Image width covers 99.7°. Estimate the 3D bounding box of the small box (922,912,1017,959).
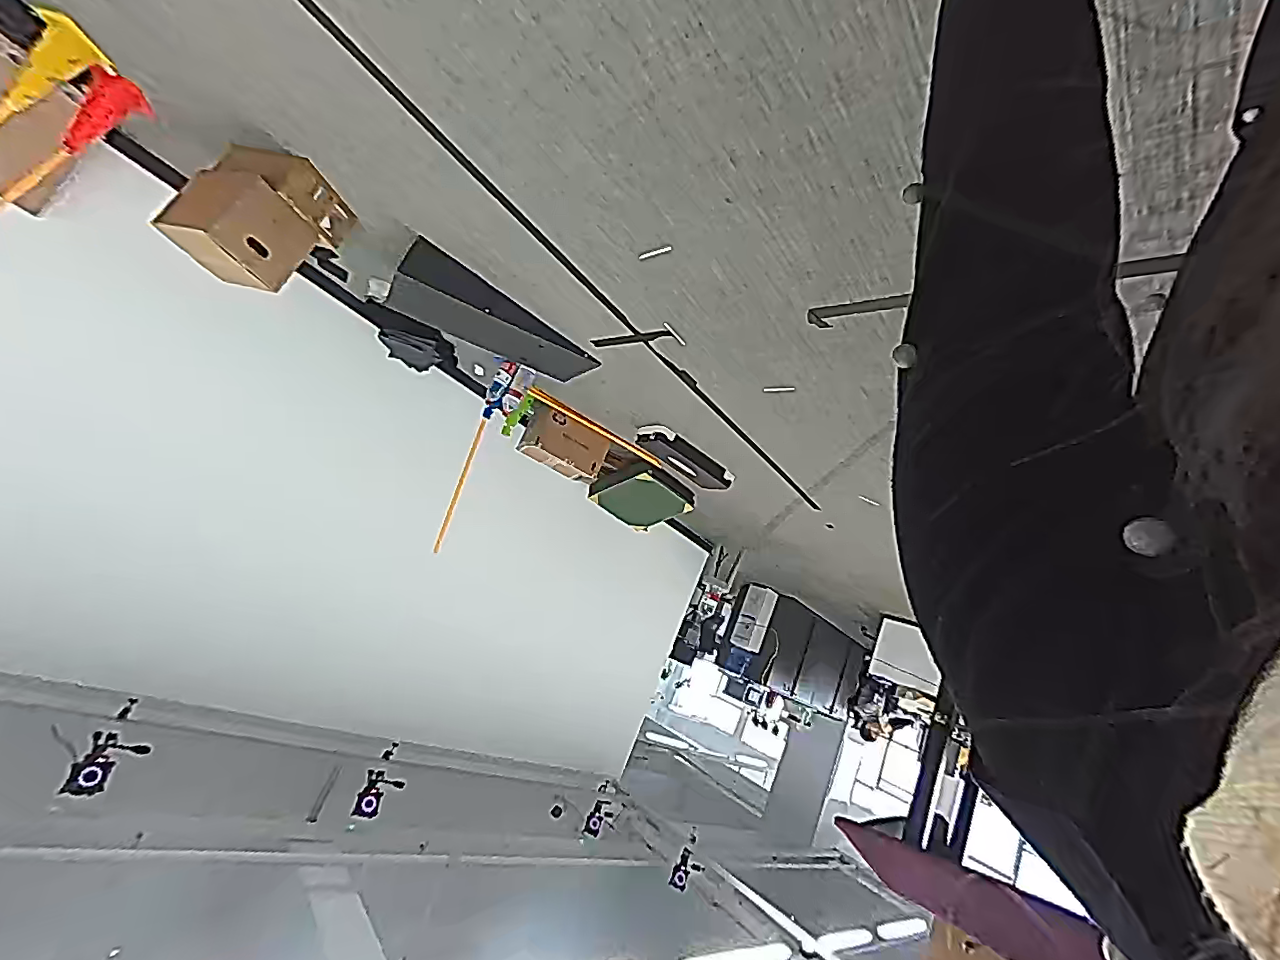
[{"bbox_3d":[0.841,1.258,1.390,0.179,0.176,0.168,10,160,45],"label":"small box"}]
